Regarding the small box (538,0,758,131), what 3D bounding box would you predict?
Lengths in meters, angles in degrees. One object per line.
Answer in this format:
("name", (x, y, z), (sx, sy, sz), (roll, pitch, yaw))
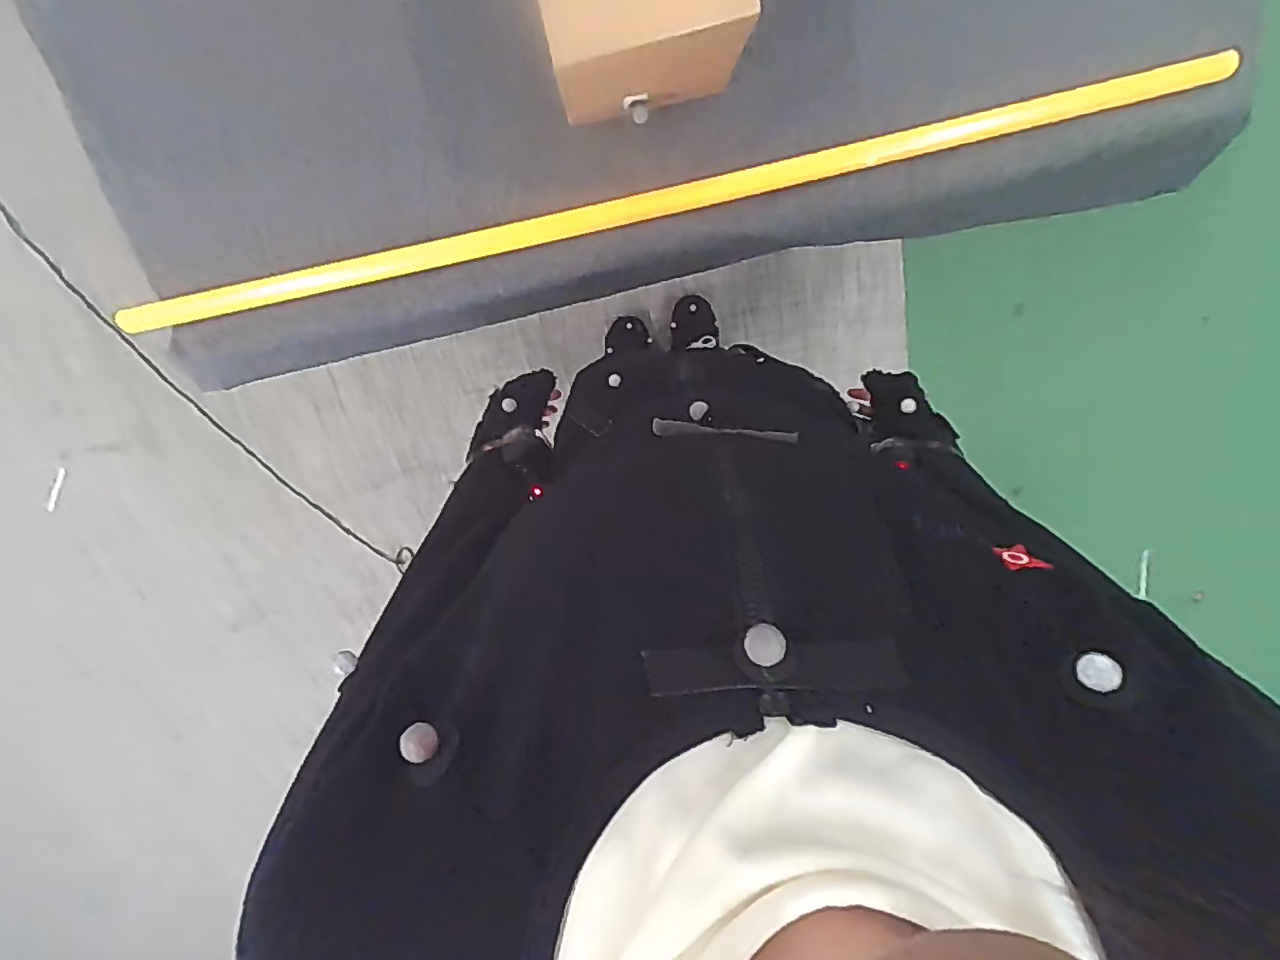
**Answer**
("small box", (-0.009, -0.442, 0.470), (0.168, 0.176, 0.179), (-13, 109, 3))
